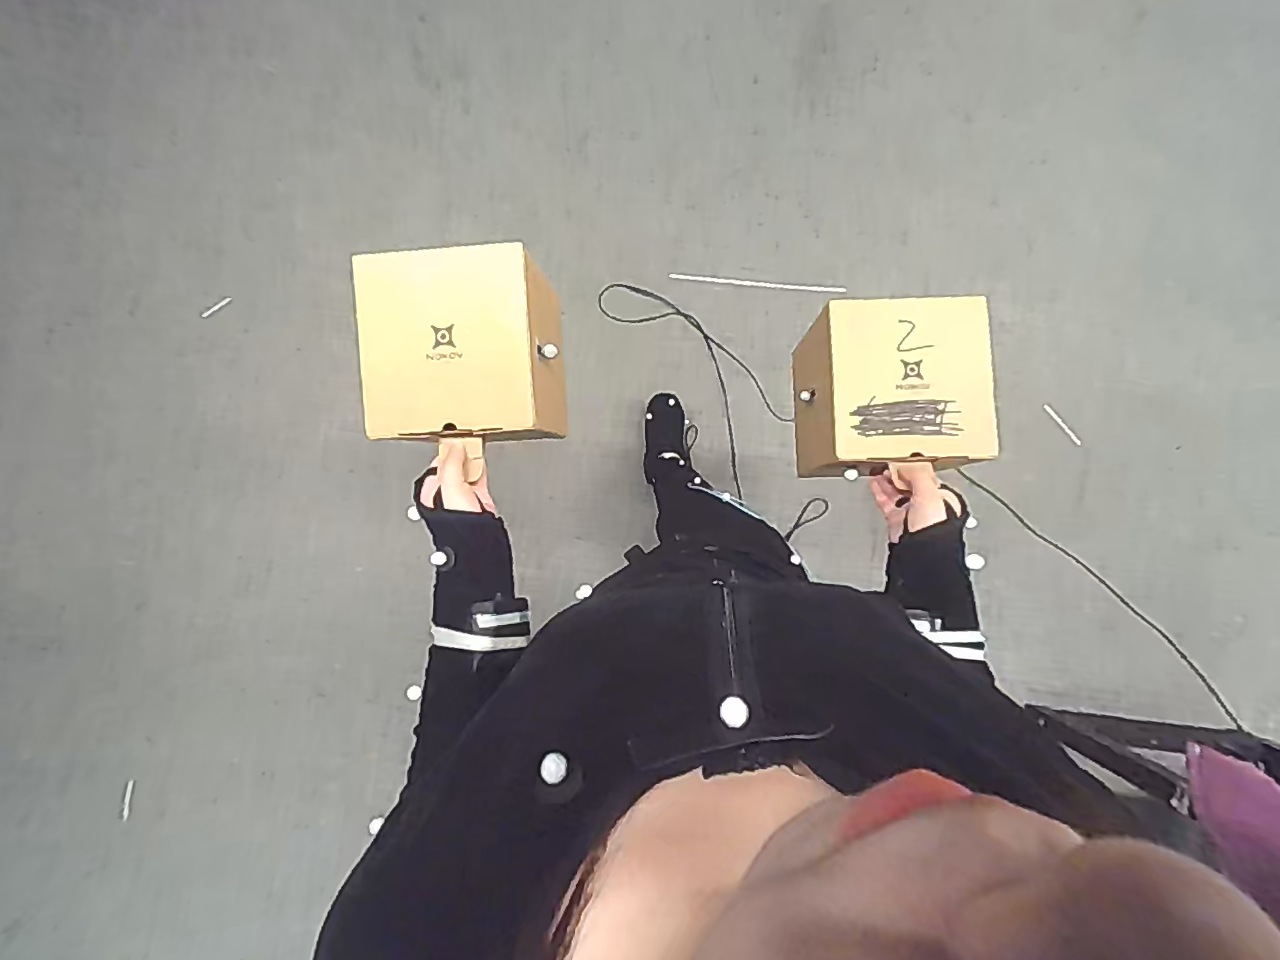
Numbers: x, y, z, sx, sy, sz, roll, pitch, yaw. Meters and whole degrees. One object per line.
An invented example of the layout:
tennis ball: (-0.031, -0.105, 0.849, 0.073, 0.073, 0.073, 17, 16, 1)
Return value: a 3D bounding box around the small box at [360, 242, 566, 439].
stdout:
small box: (-0.177, -0.137, 0.589, 0.168, 0.176, 0.179, -2, 93, 2)
